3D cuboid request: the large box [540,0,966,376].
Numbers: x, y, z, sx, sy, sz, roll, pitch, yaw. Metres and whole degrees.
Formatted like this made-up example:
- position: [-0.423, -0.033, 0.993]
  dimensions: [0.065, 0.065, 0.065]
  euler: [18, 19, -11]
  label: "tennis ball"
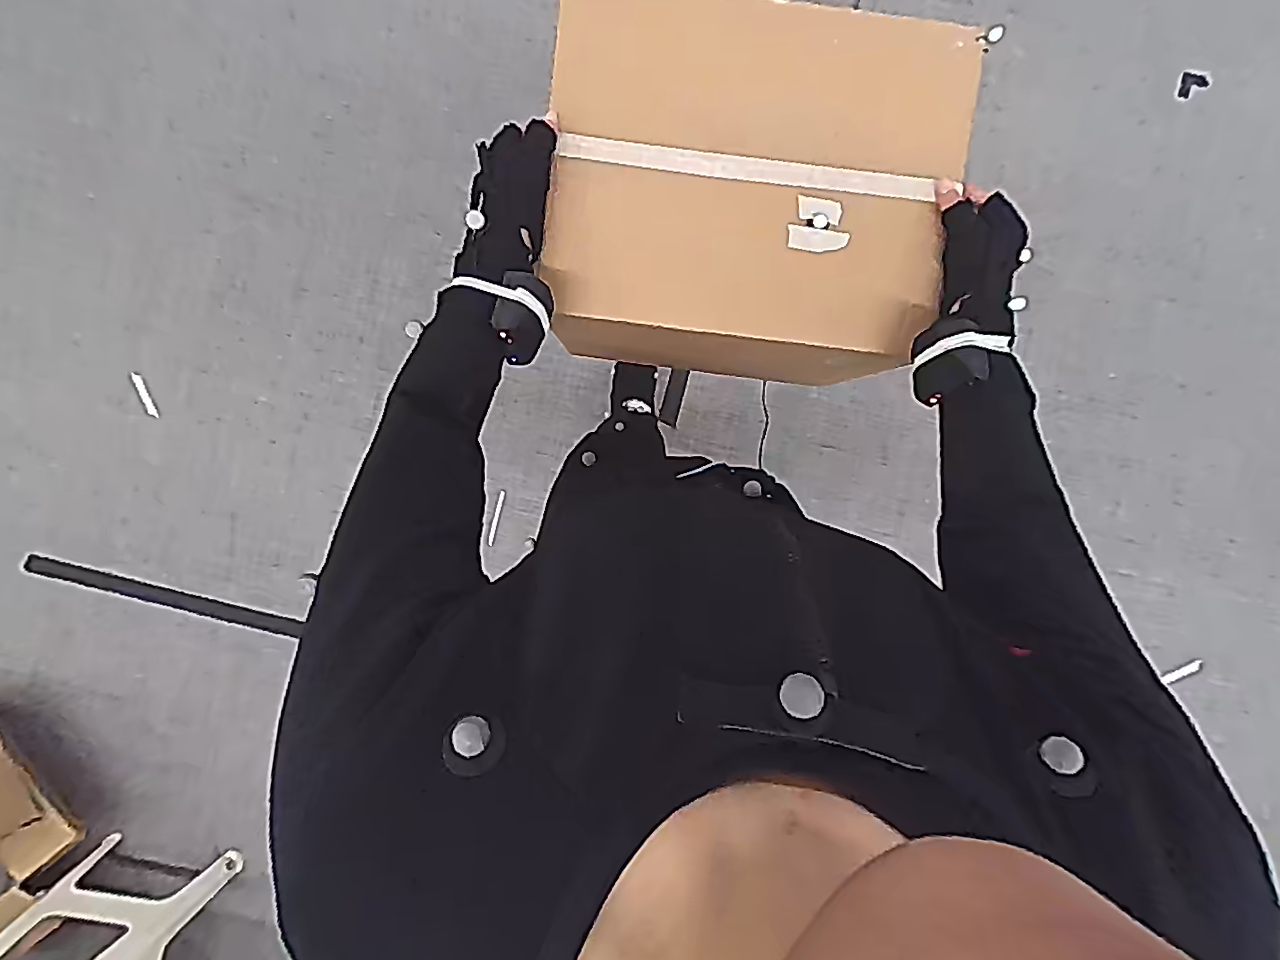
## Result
- position: [0.105, -0.320, 0.684]
  dimensions: [0.408, 0.320, 0.320]
  euler: [7, 95, -2]
  label: "large box"
